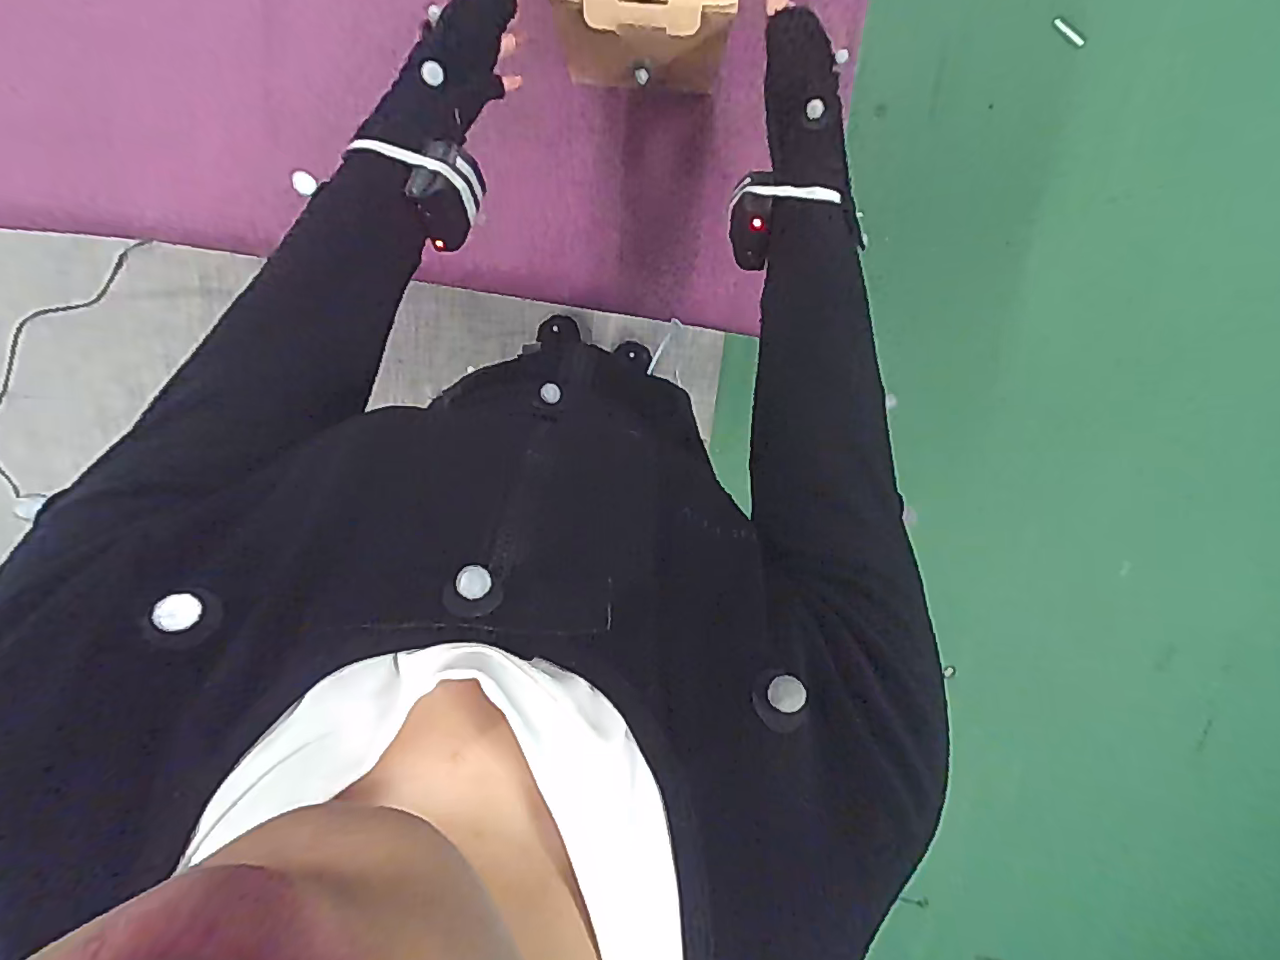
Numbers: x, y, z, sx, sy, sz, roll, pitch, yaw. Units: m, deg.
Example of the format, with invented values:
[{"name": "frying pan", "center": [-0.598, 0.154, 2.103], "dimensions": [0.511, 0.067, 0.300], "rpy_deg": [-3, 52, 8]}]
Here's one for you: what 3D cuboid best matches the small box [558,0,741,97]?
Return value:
[{"name": "small box", "center": [0.011, -0.508, 0.517], "dimensions": [0.168, 0.176, 0.179], "rpy_deg": [4, 106, -1]}]
